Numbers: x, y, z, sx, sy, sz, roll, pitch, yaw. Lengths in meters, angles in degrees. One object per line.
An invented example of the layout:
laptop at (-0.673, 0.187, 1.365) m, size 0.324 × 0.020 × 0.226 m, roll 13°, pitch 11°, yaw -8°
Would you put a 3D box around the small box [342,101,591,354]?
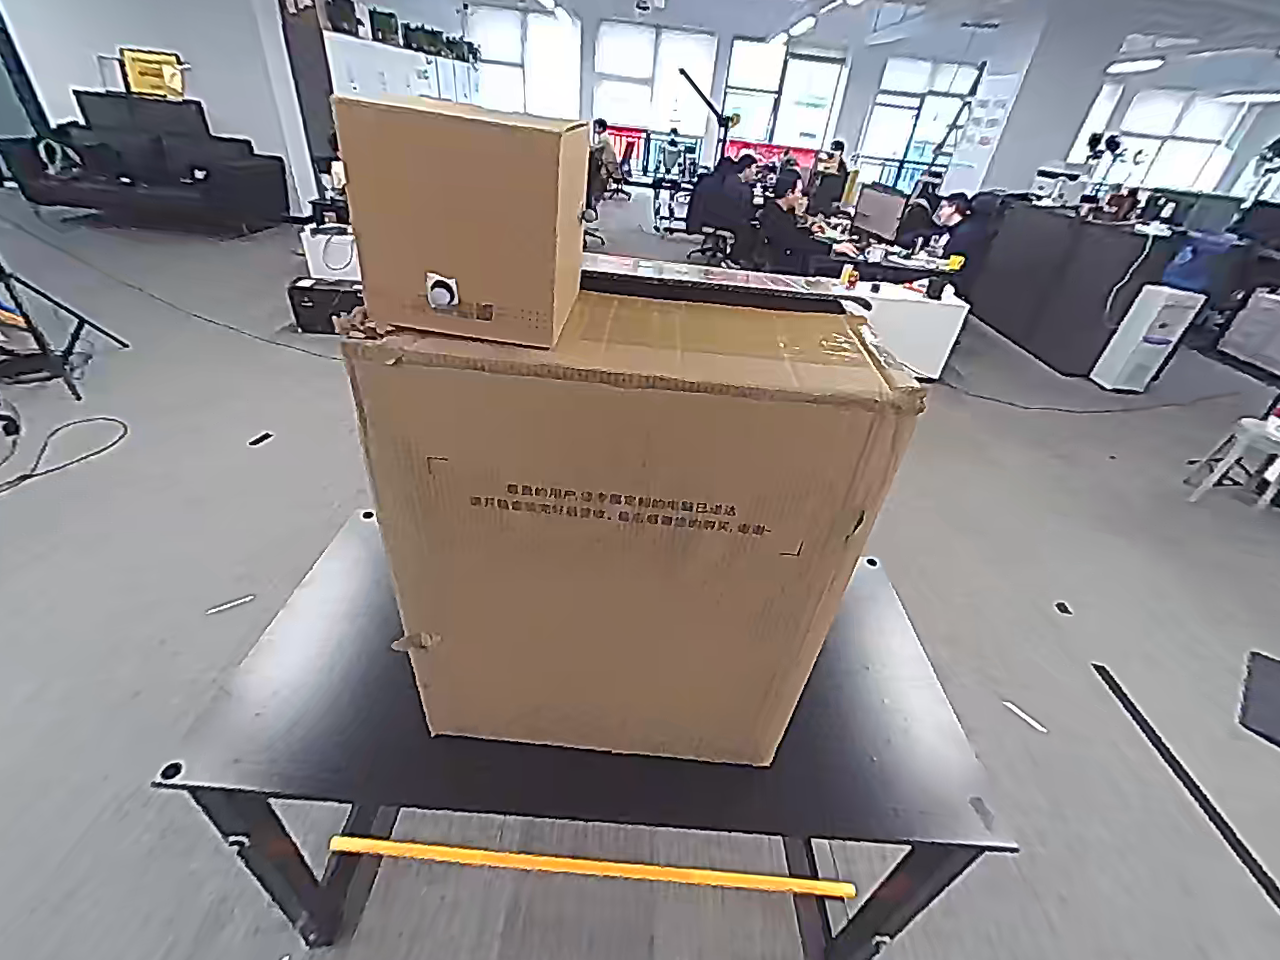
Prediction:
small box at (-0.141, -0.236, 0.501) m, size 0.168 × 0.176 × 0.179 m, roll 6°, pitch 36°, yaw -3°
